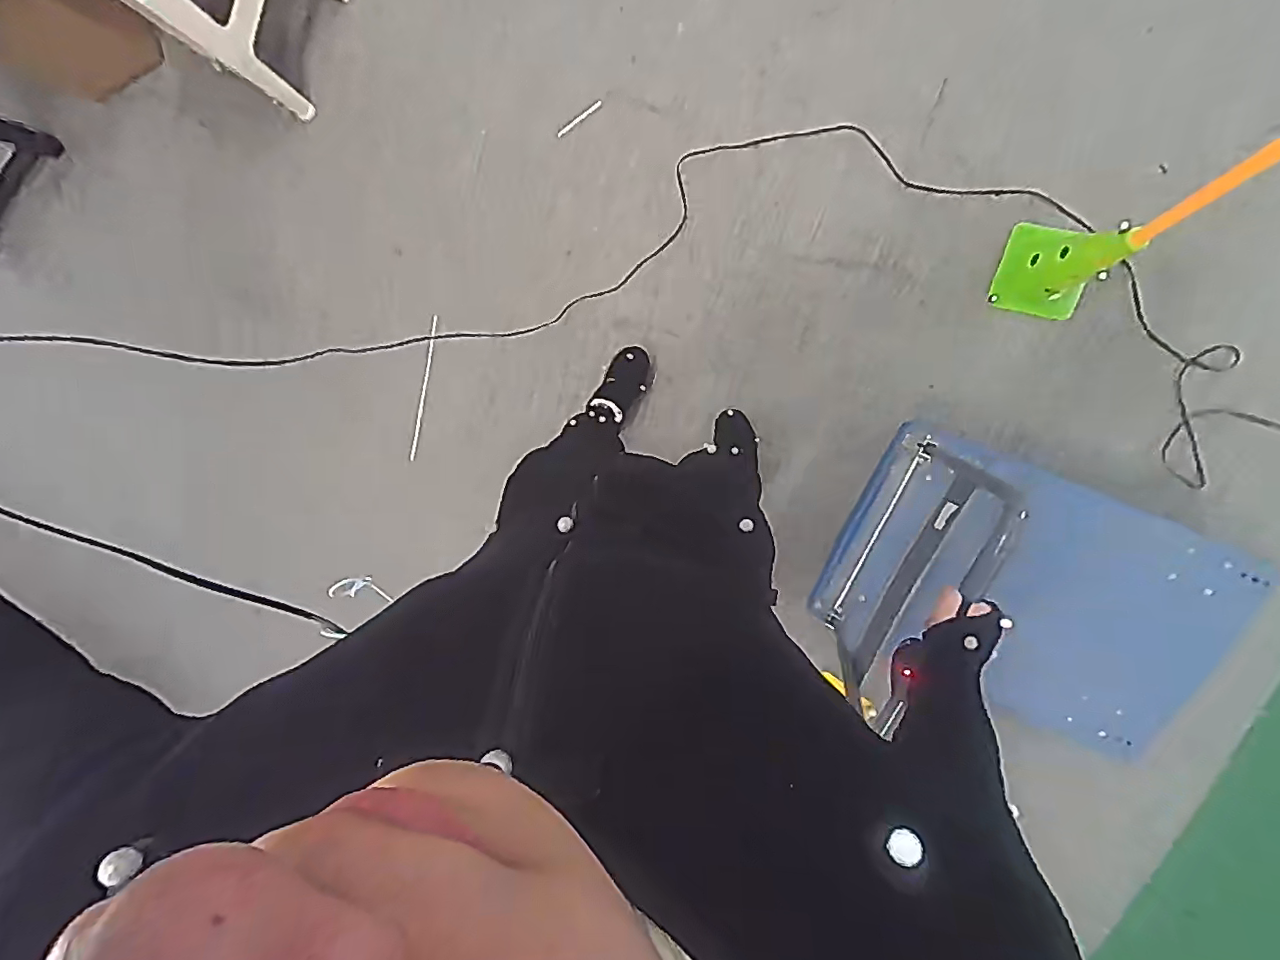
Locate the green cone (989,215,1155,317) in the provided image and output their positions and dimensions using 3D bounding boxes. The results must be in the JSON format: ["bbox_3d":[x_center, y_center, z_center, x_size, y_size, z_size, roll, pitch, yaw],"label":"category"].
[{"bbox_3d":[0.942,-0.481,1.143,0.200,0.368,0.202,15,103,9],"label":"green cone"}]
